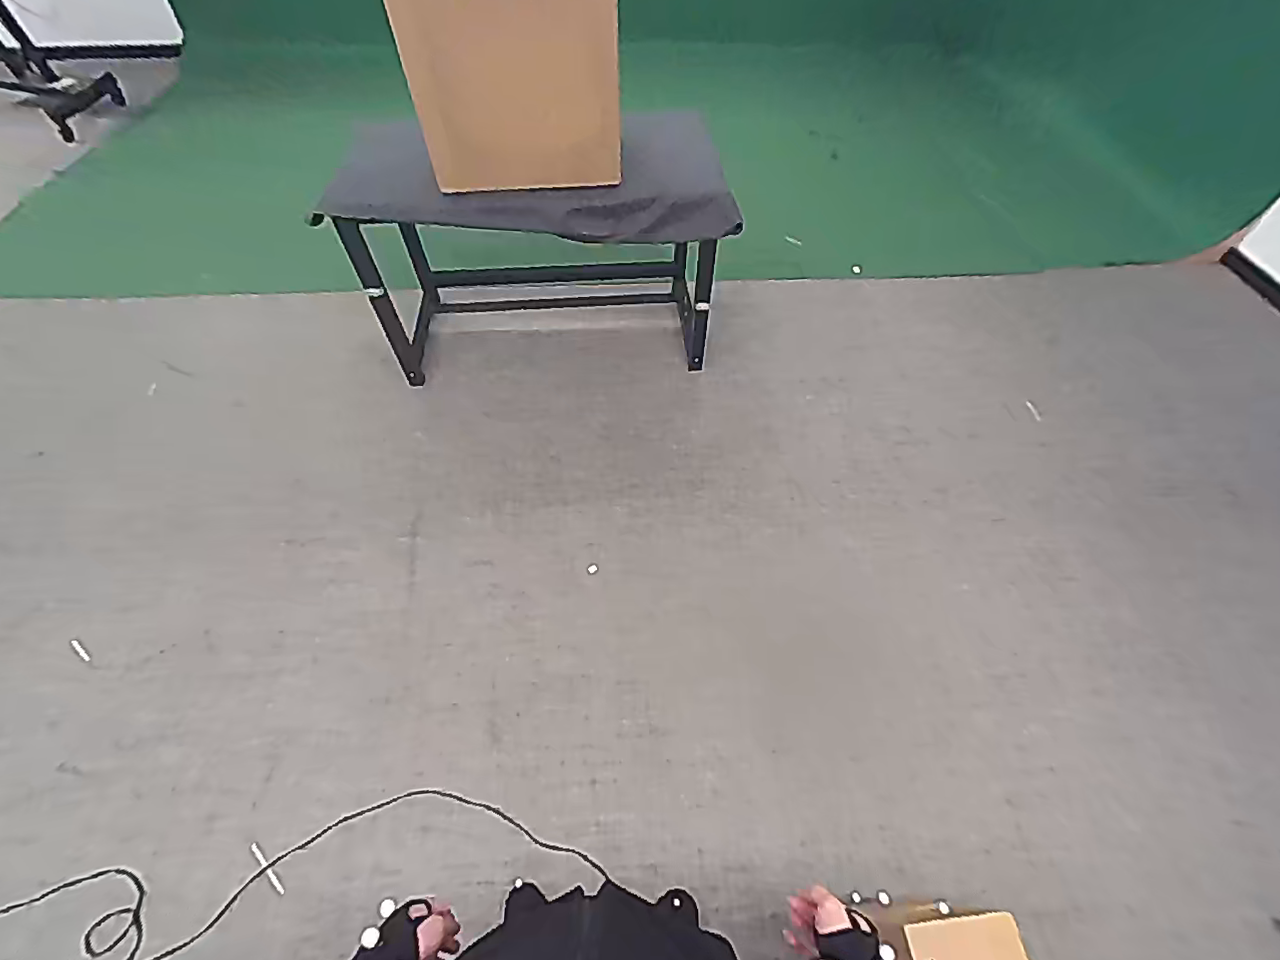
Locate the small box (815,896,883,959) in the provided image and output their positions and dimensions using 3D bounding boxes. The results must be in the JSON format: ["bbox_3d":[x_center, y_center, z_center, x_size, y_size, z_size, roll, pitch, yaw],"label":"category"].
[{"bbox_3d":[0.481,0.976,1.110,0.168,0.176,0.179,-5,53,-6],"label":"small box"}]

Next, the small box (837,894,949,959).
[{"bbox_3d":[0.485,0.874,0.981,0.168,0.176,0.179,-5,54,-6],"label":"small box"}]

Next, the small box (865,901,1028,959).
[{"bbox_3d":[0.489,0.778,0.849,0.179,0.176,0.168,-4,54,-5],"label":"small box"}]
